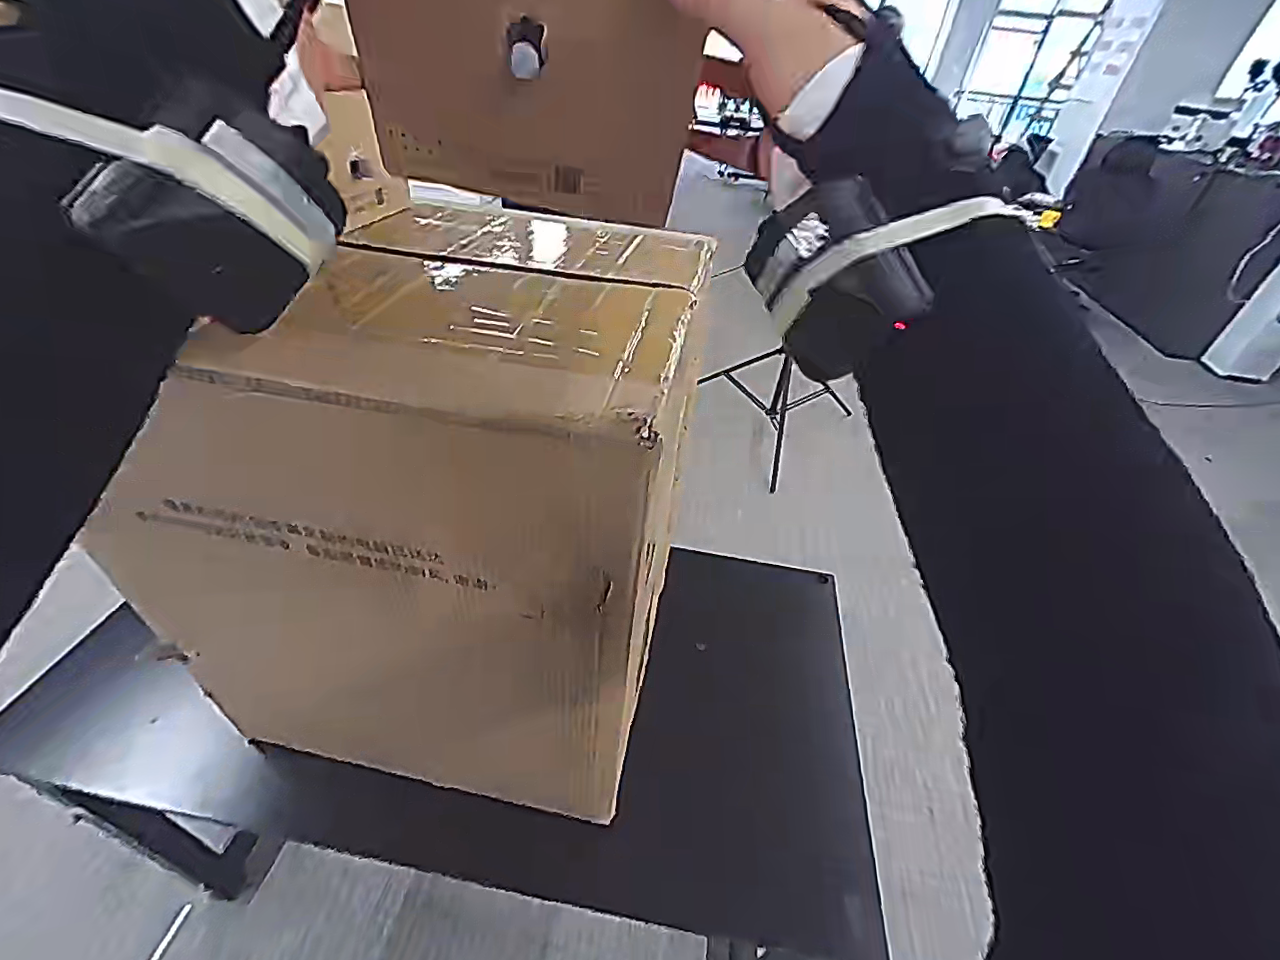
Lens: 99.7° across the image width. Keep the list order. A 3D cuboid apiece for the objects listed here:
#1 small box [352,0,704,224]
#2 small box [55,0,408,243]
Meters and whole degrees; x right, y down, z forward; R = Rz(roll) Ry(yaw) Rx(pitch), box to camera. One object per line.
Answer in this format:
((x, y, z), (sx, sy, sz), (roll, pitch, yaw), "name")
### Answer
((-0.048, -0.274, 0.301), (0.168, 0.176, 0.179), (8, 57, -5), "small box")
((-0.339, -0.326, 0.489), (0.179, 0.176, 0.168), (10, 39, 4), "small box")
